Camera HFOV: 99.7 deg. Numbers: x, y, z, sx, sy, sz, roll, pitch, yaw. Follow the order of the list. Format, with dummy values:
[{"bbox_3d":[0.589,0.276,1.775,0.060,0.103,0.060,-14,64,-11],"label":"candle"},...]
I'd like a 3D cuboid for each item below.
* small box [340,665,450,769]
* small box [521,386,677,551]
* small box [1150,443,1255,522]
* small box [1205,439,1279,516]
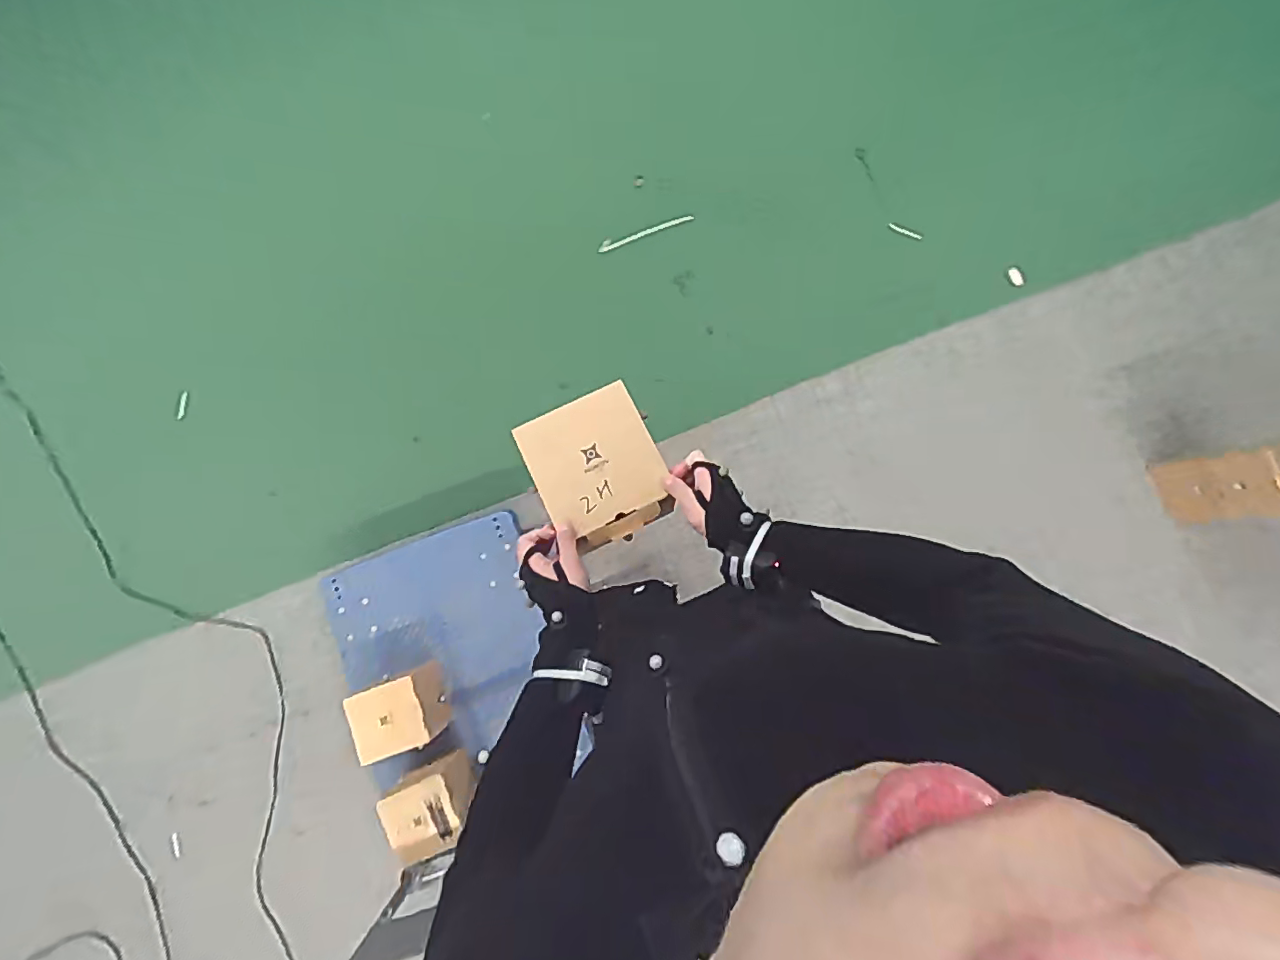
[{"bbox_3d":[-0.611,0.589,1.363,0.179,0.176,0.168,-20,83,-1],"label":"small box"},{"bbox_3d":[-0.053,-0.007,0.778,0.168,0.176,0.179,-19,79,-1],"label":"small box"},{"bbox_3d":[1.609,0.013,1.522,0.168,0.176,0.179,-16,83,1],"label":"small box"},{"bbox_3d":[1.596,-0.009,1.361,0.179,0.176,0.168,-17,83,2],"label":"small box"}]
